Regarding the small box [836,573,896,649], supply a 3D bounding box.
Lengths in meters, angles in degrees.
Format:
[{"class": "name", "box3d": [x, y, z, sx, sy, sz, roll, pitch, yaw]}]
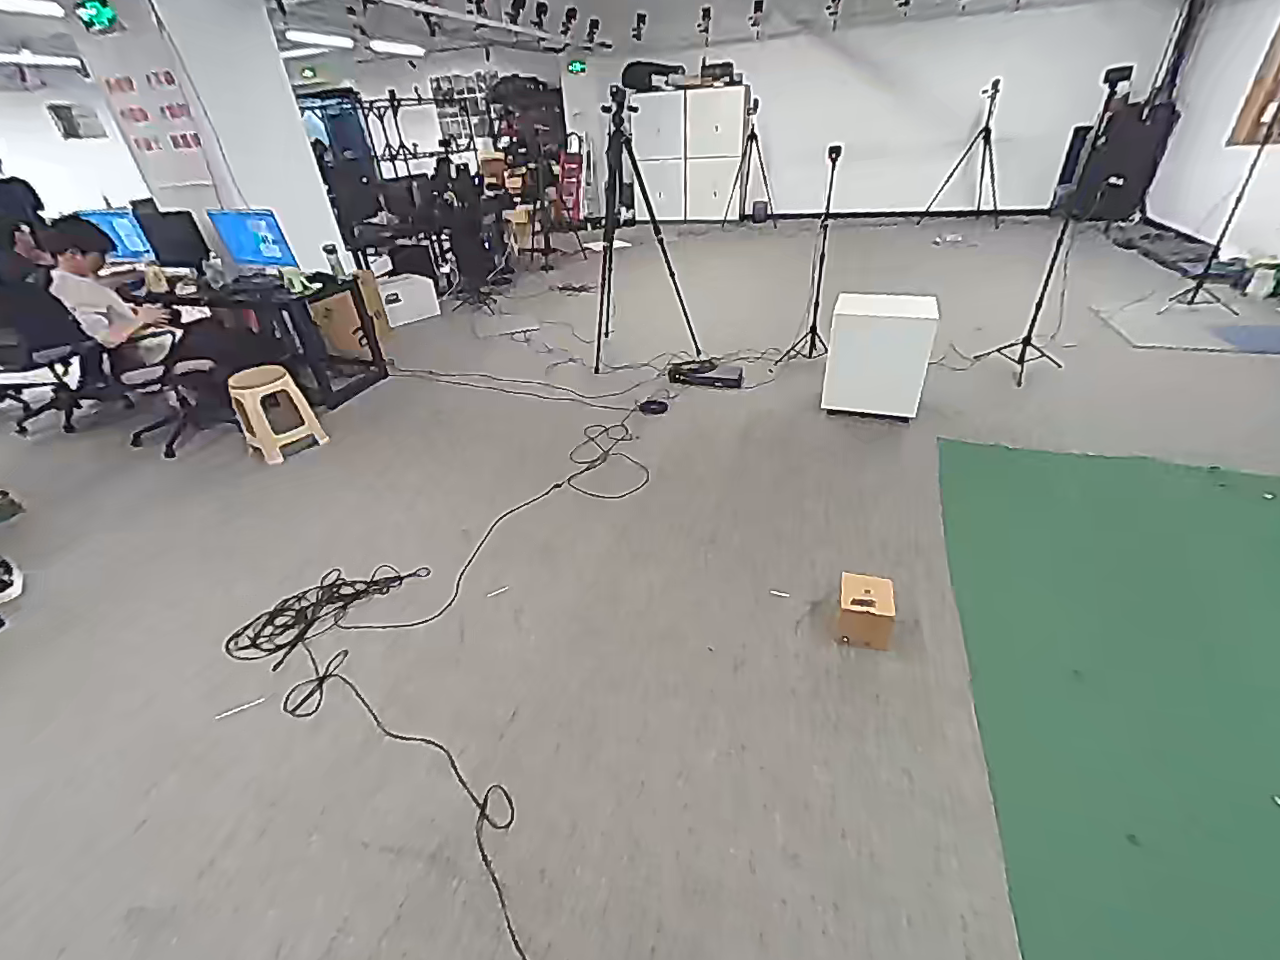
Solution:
[{"class": "small box", "box3d": [0.766, 0.447, 1.838, 0.168, 0.176, 0.179, 7, 35, 17]}]
